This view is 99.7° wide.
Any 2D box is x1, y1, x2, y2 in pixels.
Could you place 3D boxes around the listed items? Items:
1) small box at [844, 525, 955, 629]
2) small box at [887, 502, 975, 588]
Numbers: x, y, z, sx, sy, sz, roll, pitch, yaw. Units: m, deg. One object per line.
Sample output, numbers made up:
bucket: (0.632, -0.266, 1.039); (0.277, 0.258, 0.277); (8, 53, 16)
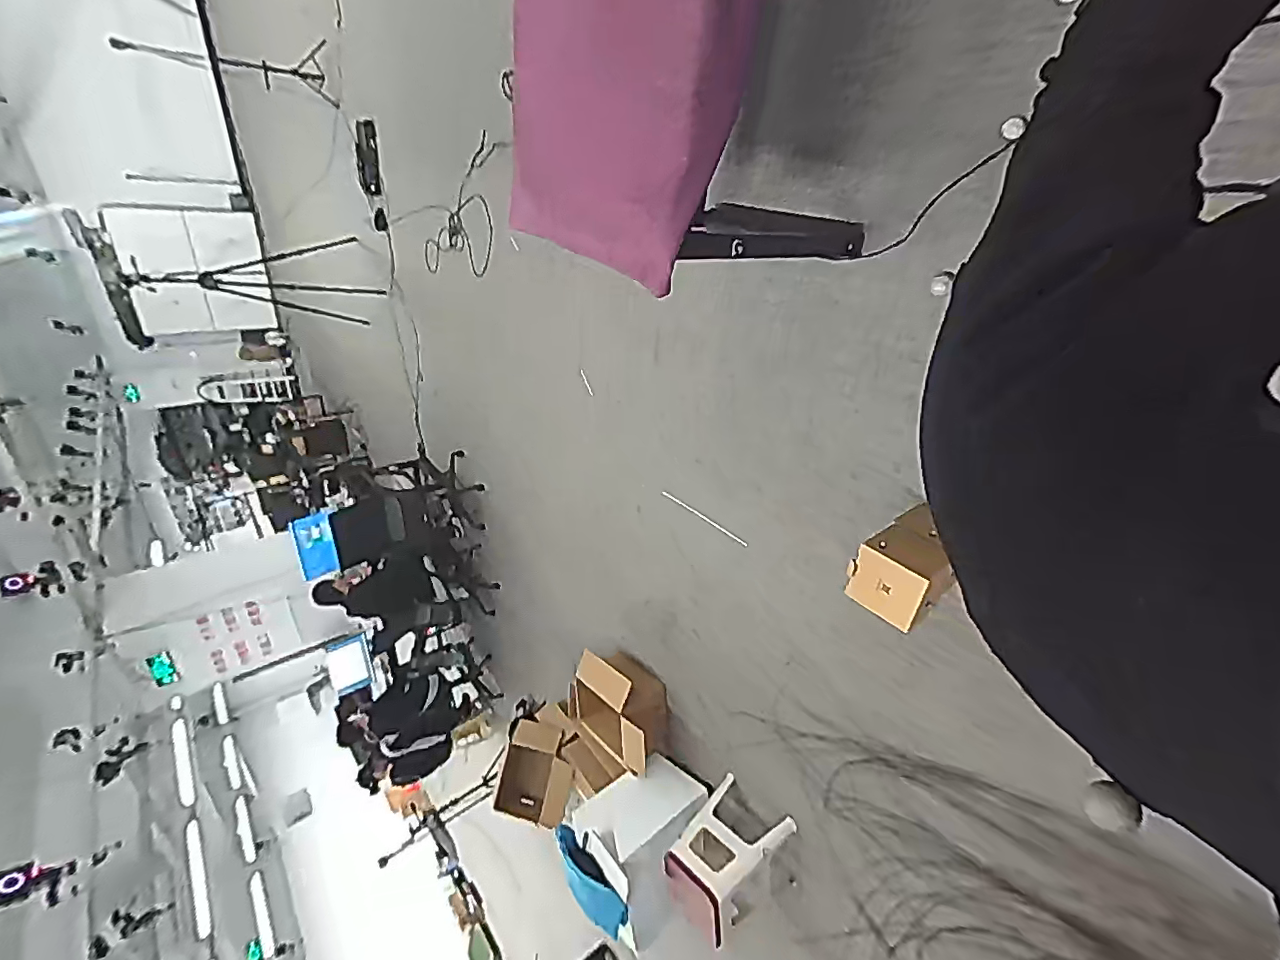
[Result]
small box: (0.656, 0.235, 1.367); (0.179, 0.176, 0.168); (34, 129, 41)
small box: (0.774, 0.187, 1.470); (0.168, 0.176, 0.179); (34, 129, 40)
